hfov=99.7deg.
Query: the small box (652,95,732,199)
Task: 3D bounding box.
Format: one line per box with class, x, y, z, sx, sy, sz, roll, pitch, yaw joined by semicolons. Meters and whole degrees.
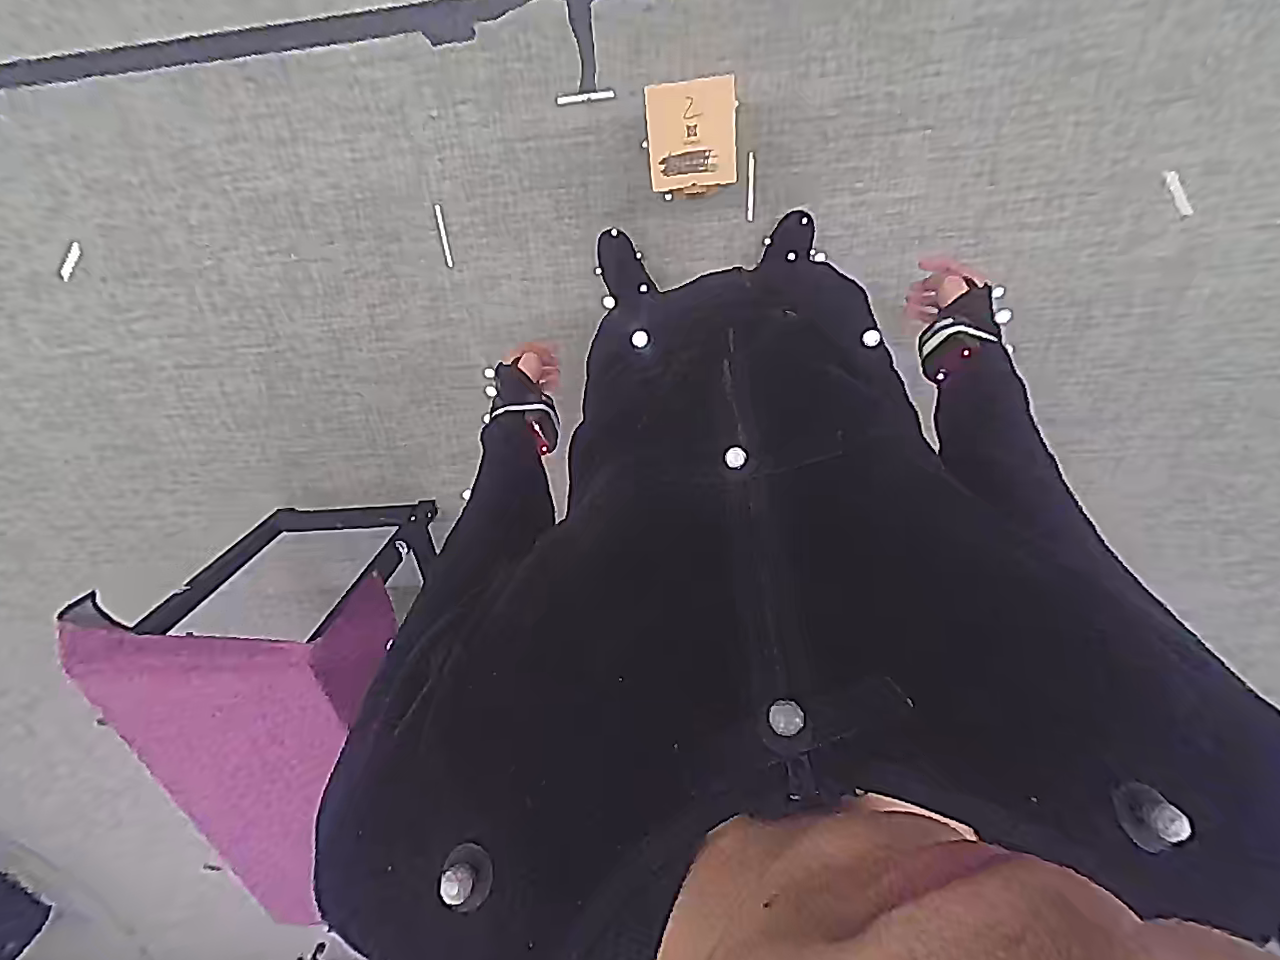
small box;0.118;-0.752;1.237;0.168;0.176;0.179;-5;119;7
